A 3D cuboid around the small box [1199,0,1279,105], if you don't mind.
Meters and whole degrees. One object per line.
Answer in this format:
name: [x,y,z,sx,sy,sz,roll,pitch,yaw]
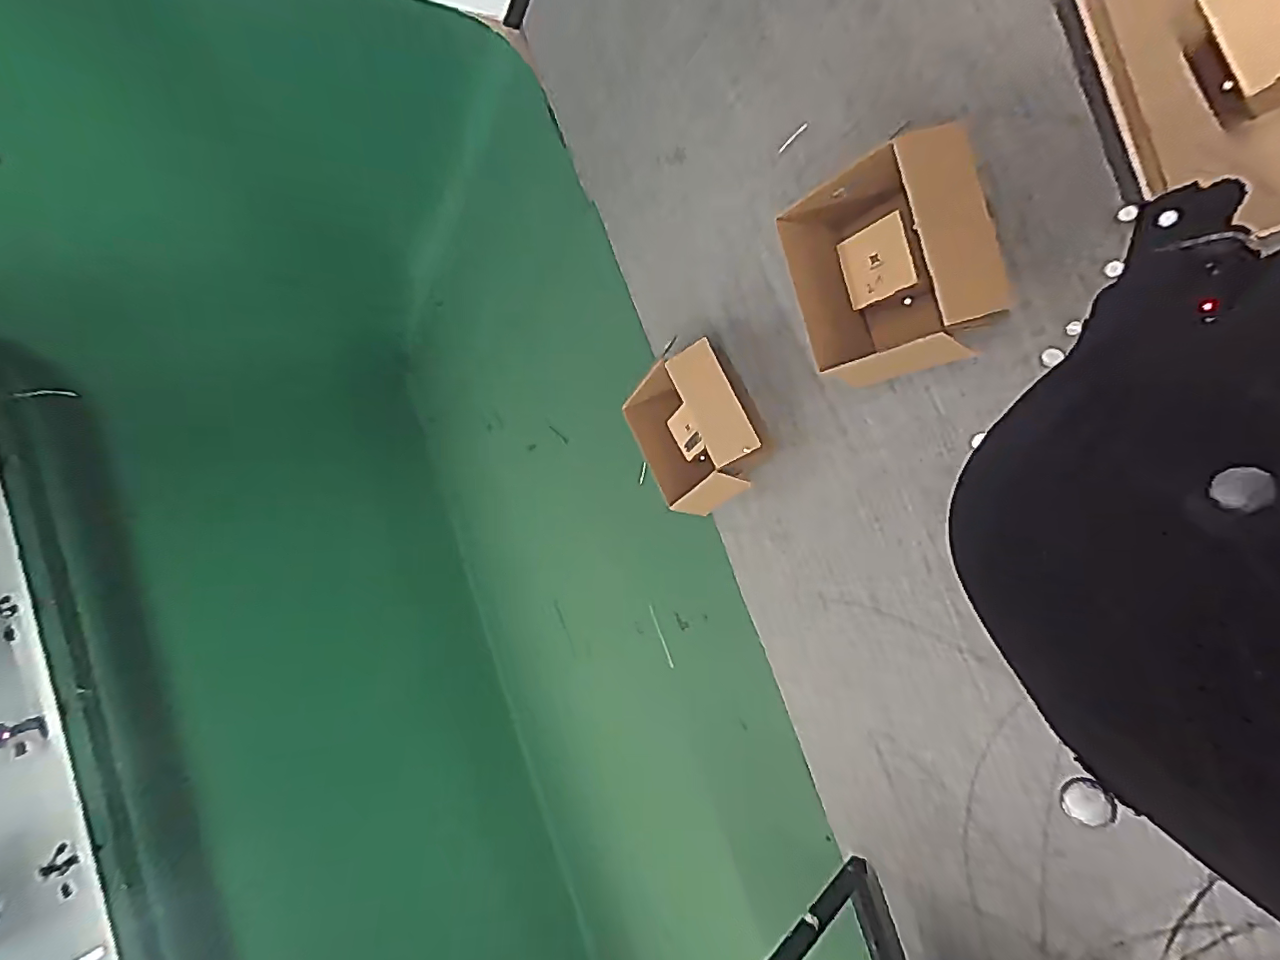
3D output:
small box: [0.973,-0.700,0.797,0.168,0.176,0.179,-27,82,52]
